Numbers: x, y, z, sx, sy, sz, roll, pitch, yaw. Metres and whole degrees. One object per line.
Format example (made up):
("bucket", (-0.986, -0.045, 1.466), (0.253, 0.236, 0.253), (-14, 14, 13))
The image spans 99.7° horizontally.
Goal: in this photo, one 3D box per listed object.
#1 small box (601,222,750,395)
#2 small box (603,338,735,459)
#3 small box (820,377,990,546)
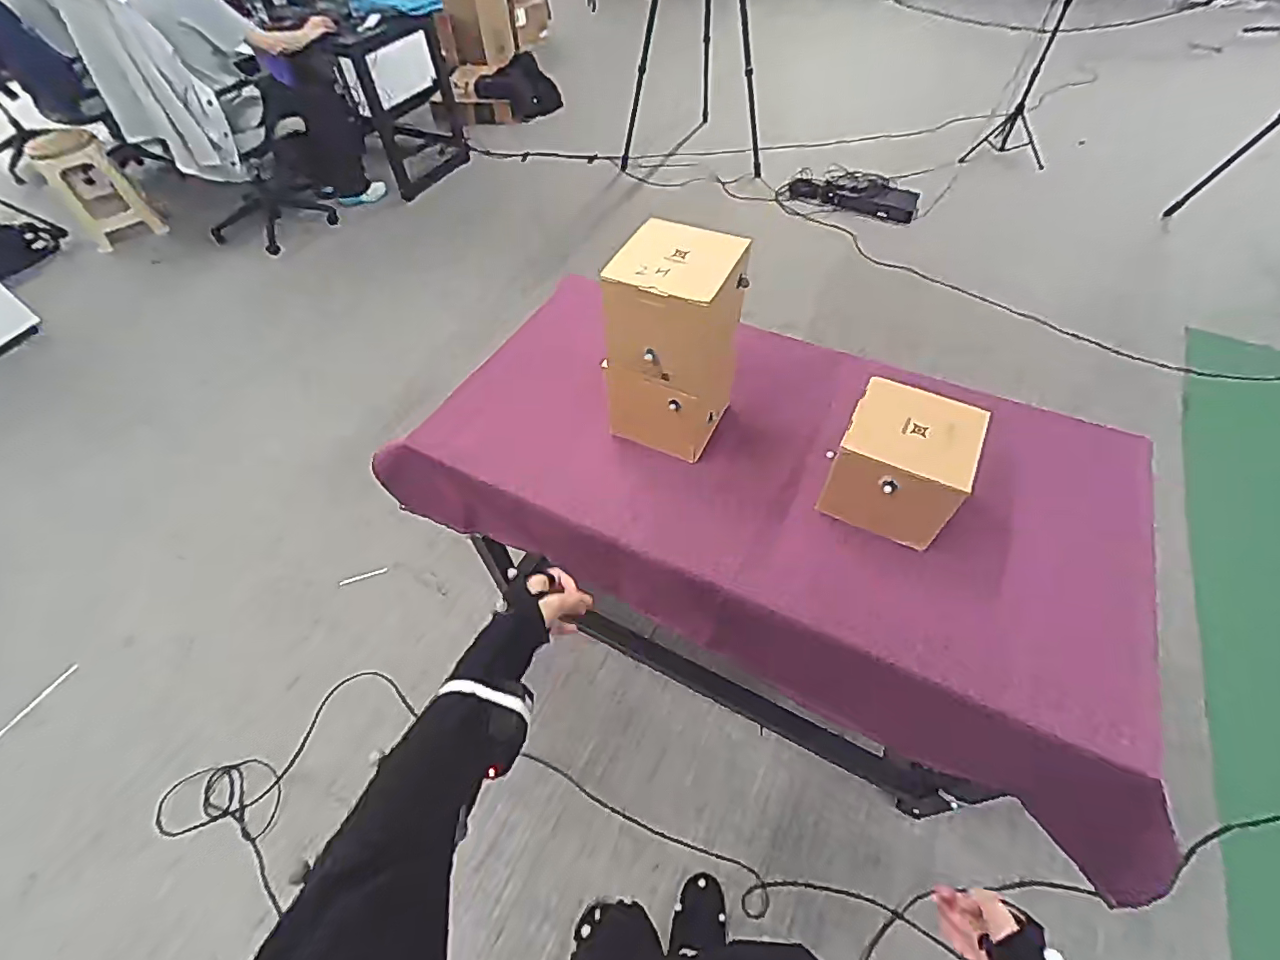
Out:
("small box", (0.055, -0.263, 0.835), (0.168, 0.176, 0.179), (20, 56, 17))
("small box", (0.053, -0.163, 0.967), (0.179, 0.176, 0.168), (20, 56, 16))
("small box", (0.400, -0.025, 0.841), (0.179, 0.176, 0.168), (24, 58, 19))
